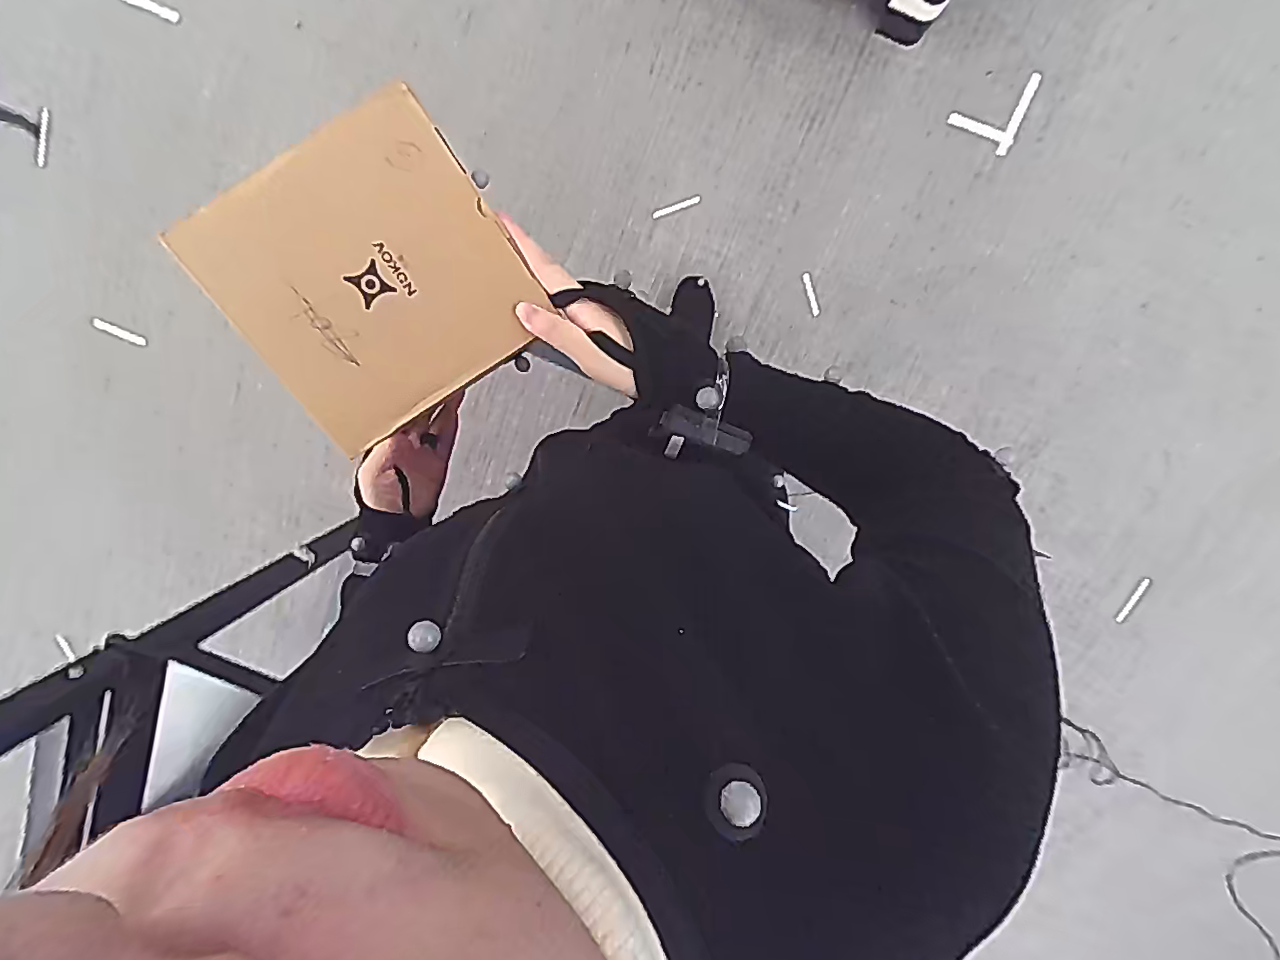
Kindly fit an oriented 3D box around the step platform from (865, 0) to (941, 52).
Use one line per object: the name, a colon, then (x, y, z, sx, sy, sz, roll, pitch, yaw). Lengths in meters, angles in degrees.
step platform: (0.351, -1.200, 1.078, 0.684, 0.204, 0.286, 28, 104, -2)
